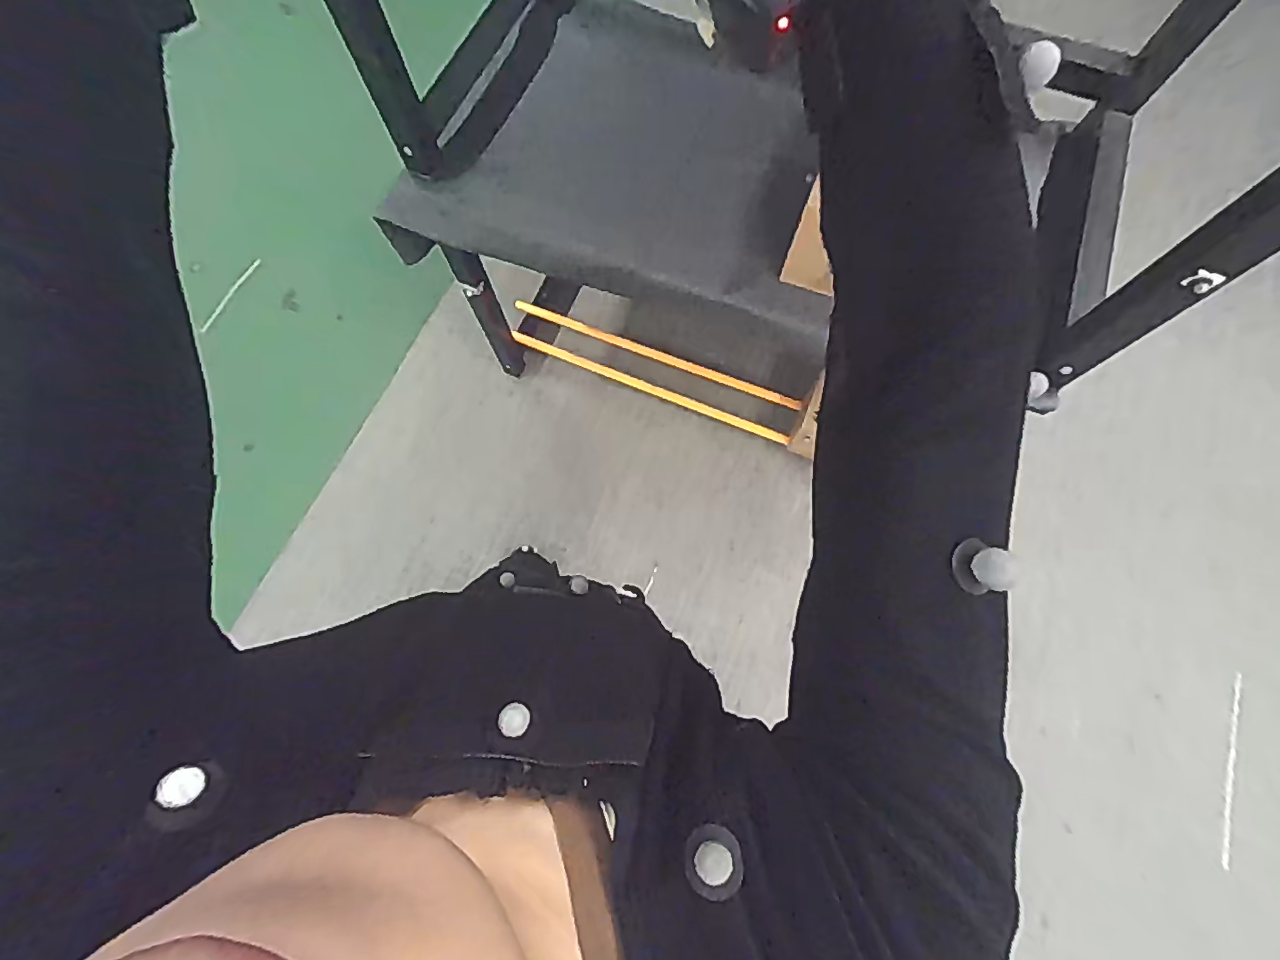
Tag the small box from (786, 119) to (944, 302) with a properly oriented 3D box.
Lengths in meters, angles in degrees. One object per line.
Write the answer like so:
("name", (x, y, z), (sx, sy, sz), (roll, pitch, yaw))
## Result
("small box", (0.351, -0.426, 0.871), (0.168, 0.176, 0.179), (21, 72, 8))
